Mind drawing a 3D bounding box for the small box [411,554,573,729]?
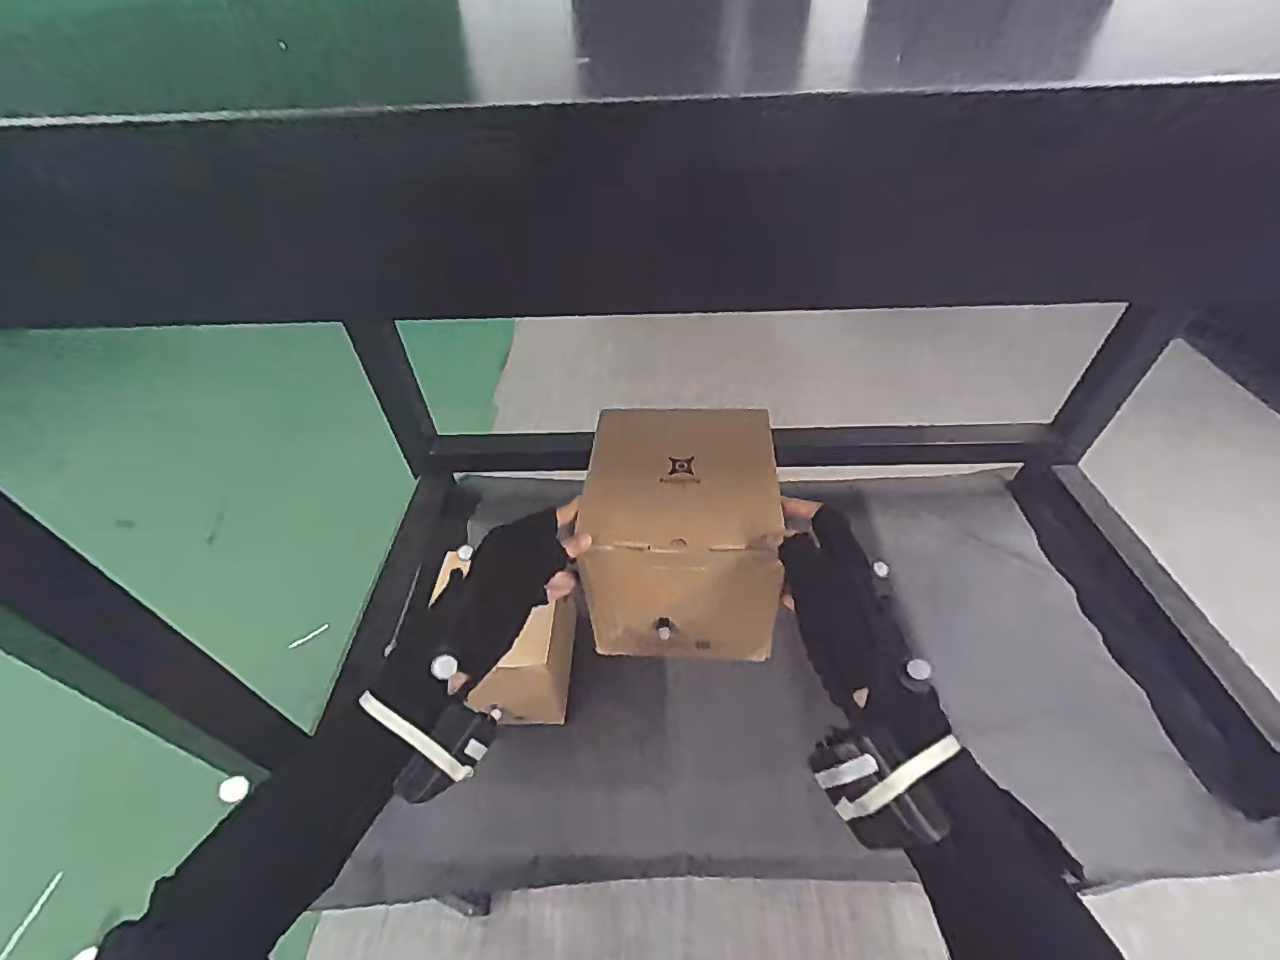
[{"bbox_3d":[-0.188,0.223,0.752,0.168,0.176,0.179,-1,44,2],"label":"small box"}]
